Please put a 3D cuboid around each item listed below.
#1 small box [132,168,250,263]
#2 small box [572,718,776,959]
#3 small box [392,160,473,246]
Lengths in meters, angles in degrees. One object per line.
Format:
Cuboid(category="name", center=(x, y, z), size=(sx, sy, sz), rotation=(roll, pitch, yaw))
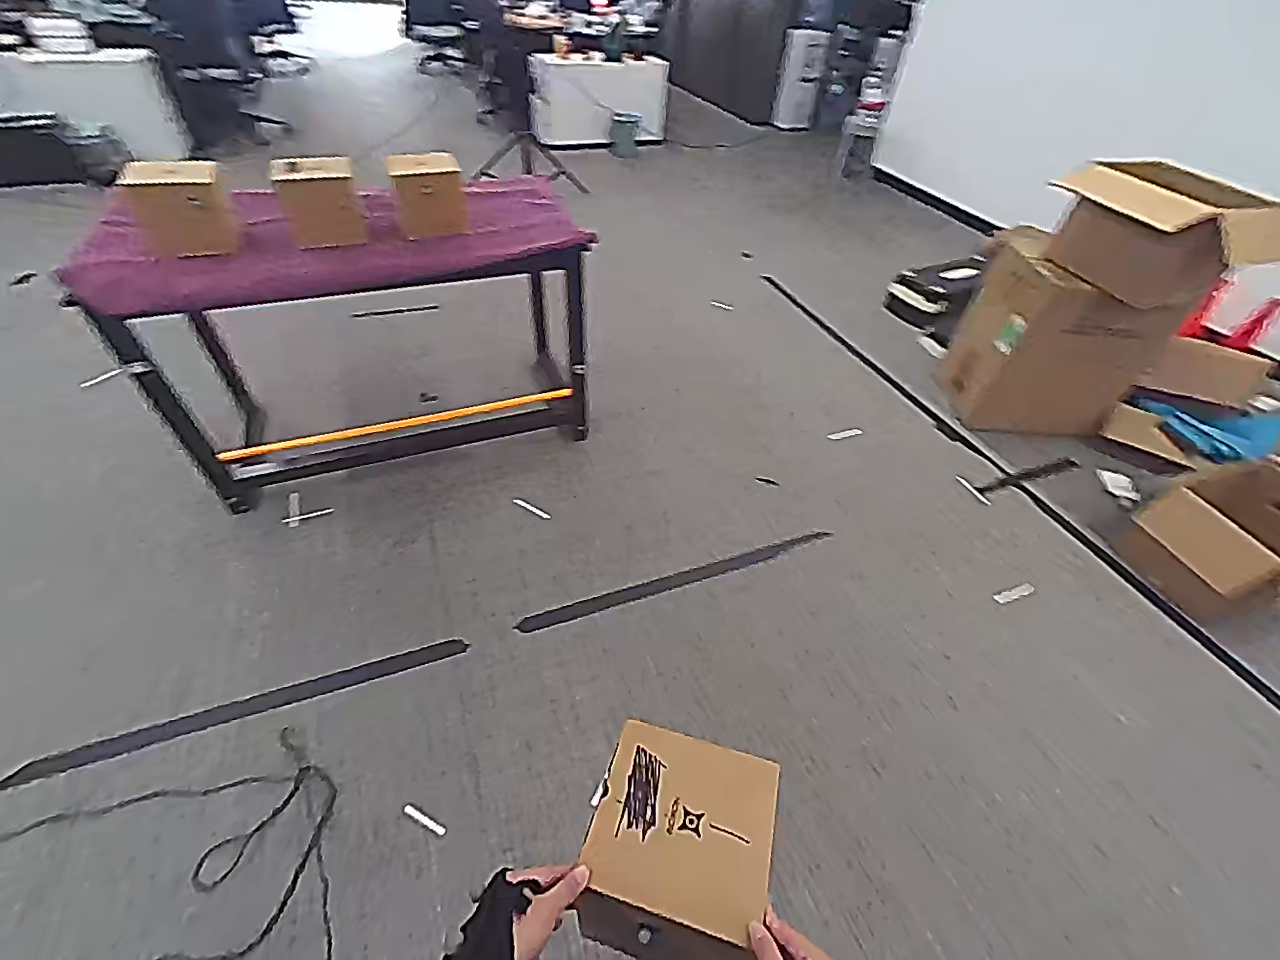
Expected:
Cuboid(category="small box", center=(-1.109, -0.662, 1.354), size=(0.179, 0.176, 0.168), rotation=(-14, 47, -21))
Cuboid(category="small box", center=(0.041, 0.397, 0.585), size=(0.179, 0.176, 0.168), rotation=(11, 38, 12))
Cuboid(category="small box", center=(-0.579, -0.781, 1.524), size=(0.179, 0.176, 0.168), rotation=(-16, 49, -18))
